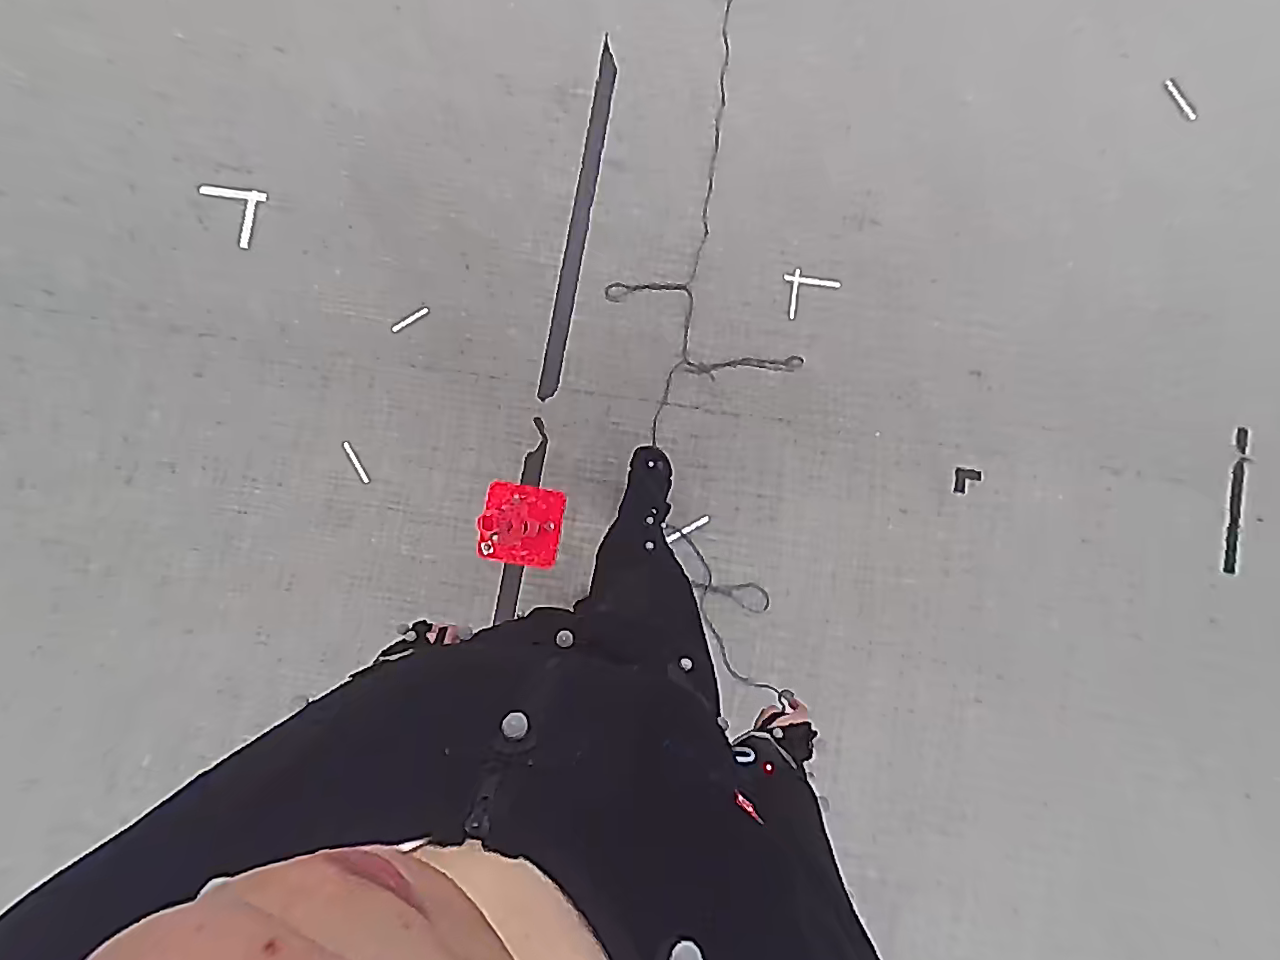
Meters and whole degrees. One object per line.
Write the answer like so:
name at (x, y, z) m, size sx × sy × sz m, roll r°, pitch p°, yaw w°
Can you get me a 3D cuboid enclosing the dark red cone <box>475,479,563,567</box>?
dark red cone at (-0.289, 0.089, 1.176) m, size 0.201 × 0.394 × 0.202 m, roll 9°, pitch 85°, yaw -2°
